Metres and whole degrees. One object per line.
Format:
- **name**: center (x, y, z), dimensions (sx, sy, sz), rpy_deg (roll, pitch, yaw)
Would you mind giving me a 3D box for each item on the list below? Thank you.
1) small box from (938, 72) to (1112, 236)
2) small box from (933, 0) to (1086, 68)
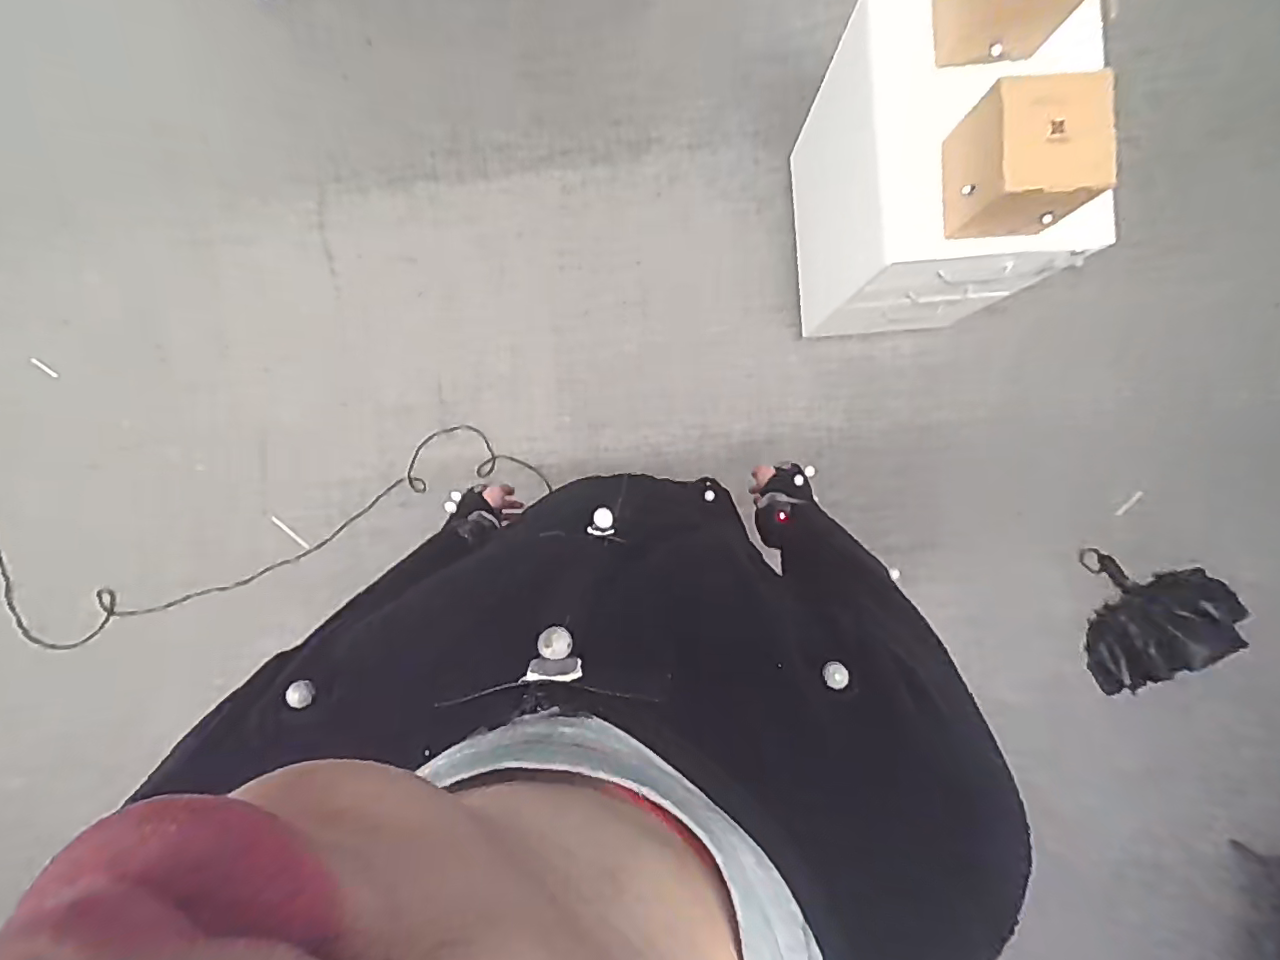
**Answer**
- **small box**: center (0.611, -0.512, 0.876), dimensions (0.168, 0.176, 0.179), rpy_deg (-3, 90, 0)
- **small box**: center (0.592, -0.811, 0.866), dimensions (0.168, 0.176, 0.179), rpy_deg (-5, 93, 1)
